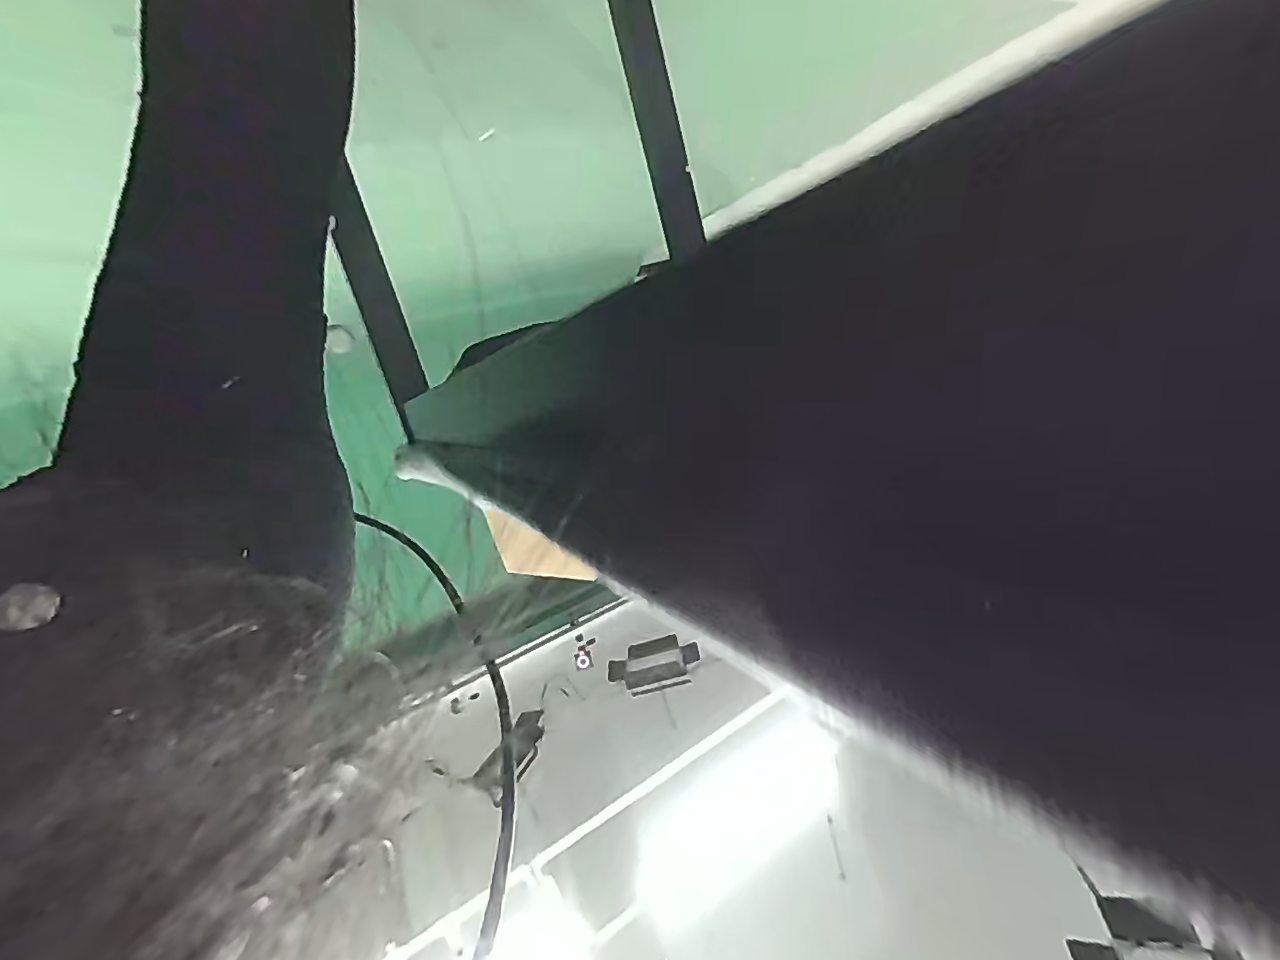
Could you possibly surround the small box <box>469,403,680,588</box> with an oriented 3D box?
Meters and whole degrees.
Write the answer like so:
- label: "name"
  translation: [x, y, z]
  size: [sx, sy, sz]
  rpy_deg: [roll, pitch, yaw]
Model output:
- label: "small box"
  translation: [-0.082, 0.016, 0.678]
  size: [0.168, 0.176, 0.179]
  rpy_deg: [-4, -161, 42]
